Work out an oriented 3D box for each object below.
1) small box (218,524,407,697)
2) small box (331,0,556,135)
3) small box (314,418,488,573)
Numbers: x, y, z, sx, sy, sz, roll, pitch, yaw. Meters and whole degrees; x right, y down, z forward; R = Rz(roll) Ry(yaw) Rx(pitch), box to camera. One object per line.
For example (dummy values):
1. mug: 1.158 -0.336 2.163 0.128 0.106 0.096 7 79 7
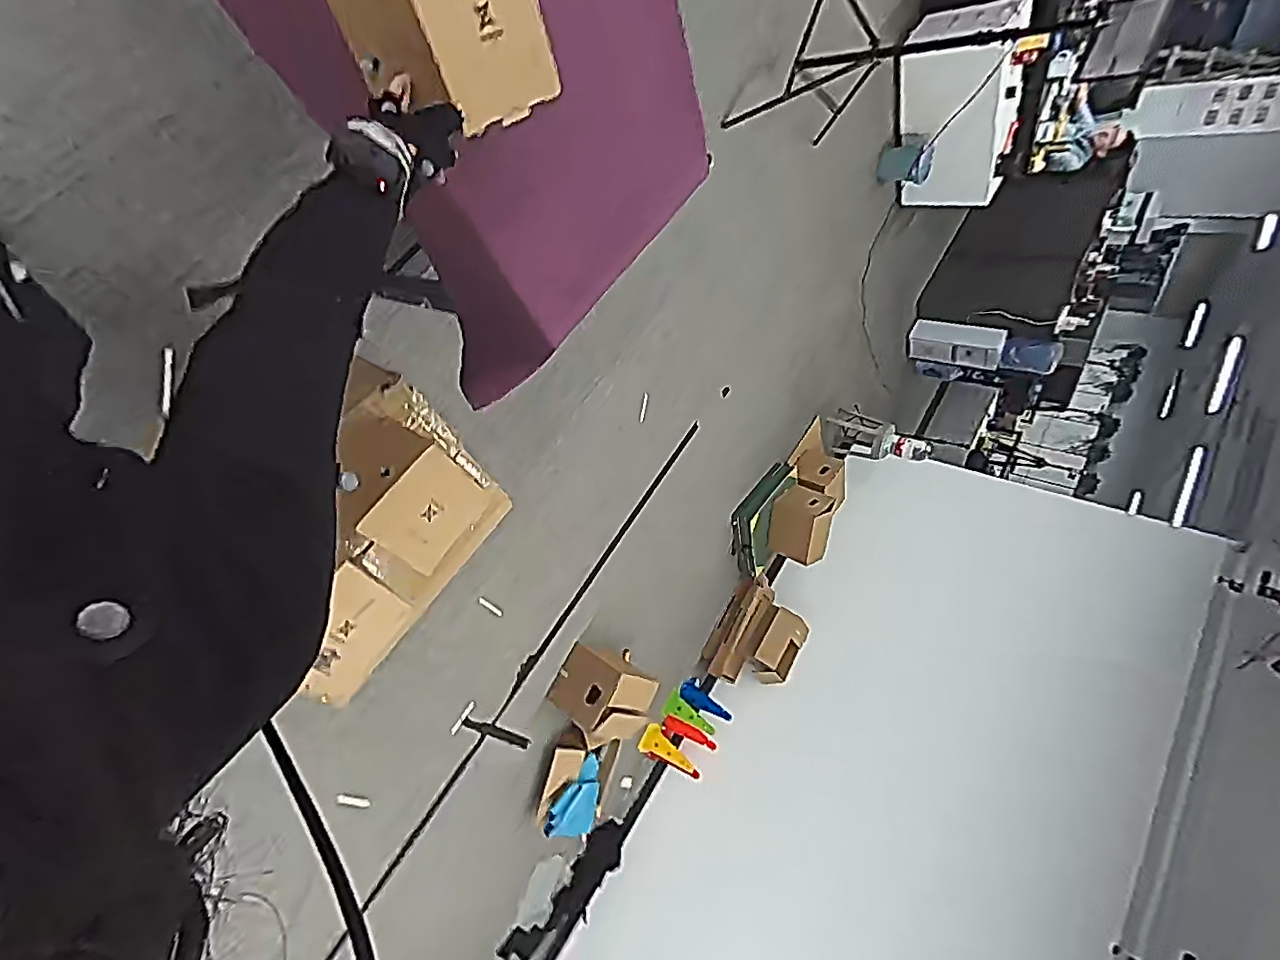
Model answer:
1. small box: -0.520 0.200 0.856 0.179 0.176 0.168 -53 141 -23
2. small box: -0.236 -0.540 0.653 0.168 0.176 0.179 -46 140 -29
3. small box: -0.403 0.020 0.914 0.179 0.176 0.168 -53 140 -18
